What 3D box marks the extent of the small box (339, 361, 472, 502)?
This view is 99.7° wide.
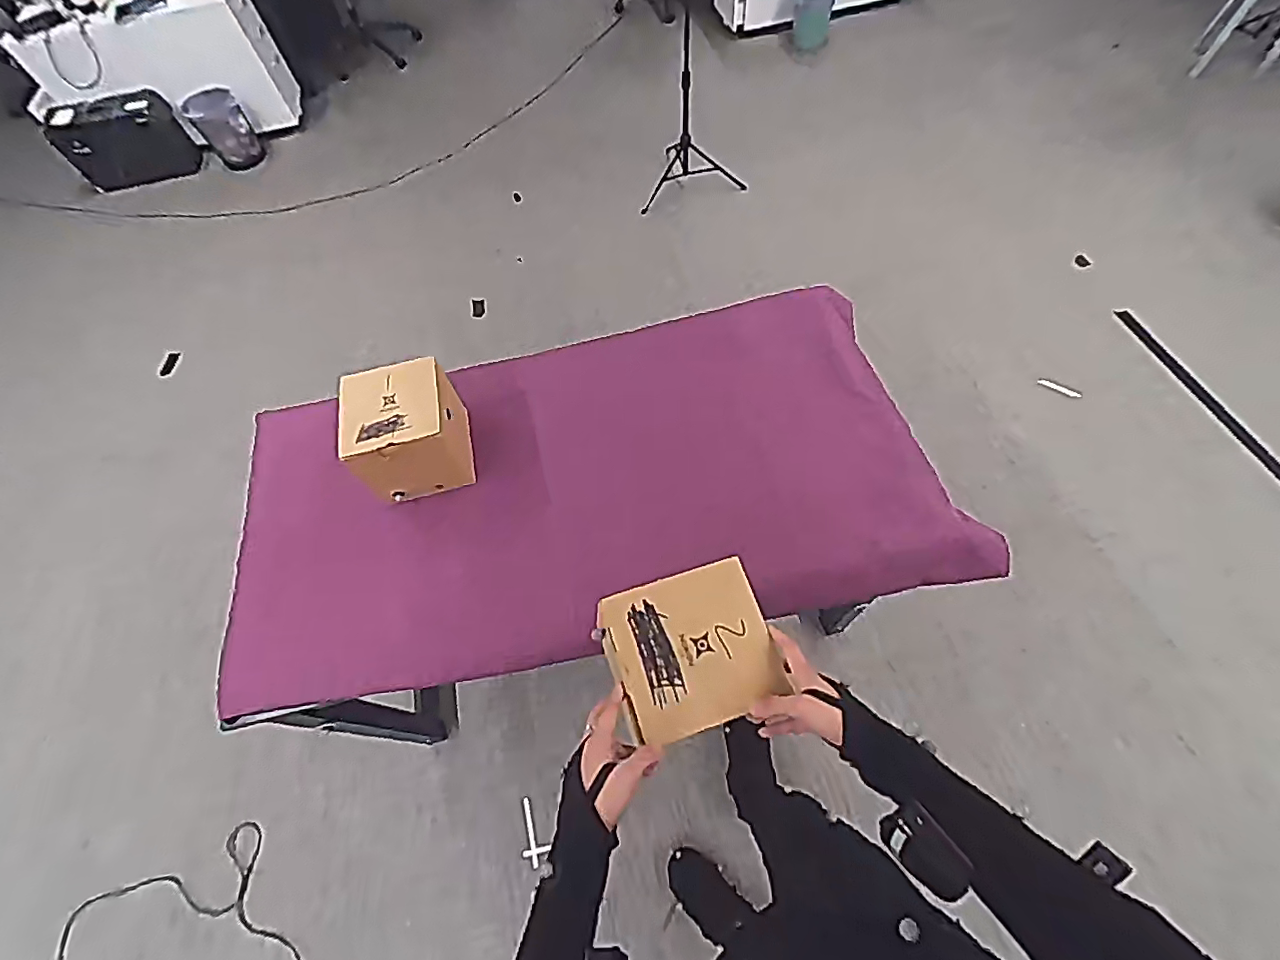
[{"bbox_3d":[-0.412,-0.077,0.968,0.168,0.176,0.179,-15,61,-4],"label":"small box"}]
